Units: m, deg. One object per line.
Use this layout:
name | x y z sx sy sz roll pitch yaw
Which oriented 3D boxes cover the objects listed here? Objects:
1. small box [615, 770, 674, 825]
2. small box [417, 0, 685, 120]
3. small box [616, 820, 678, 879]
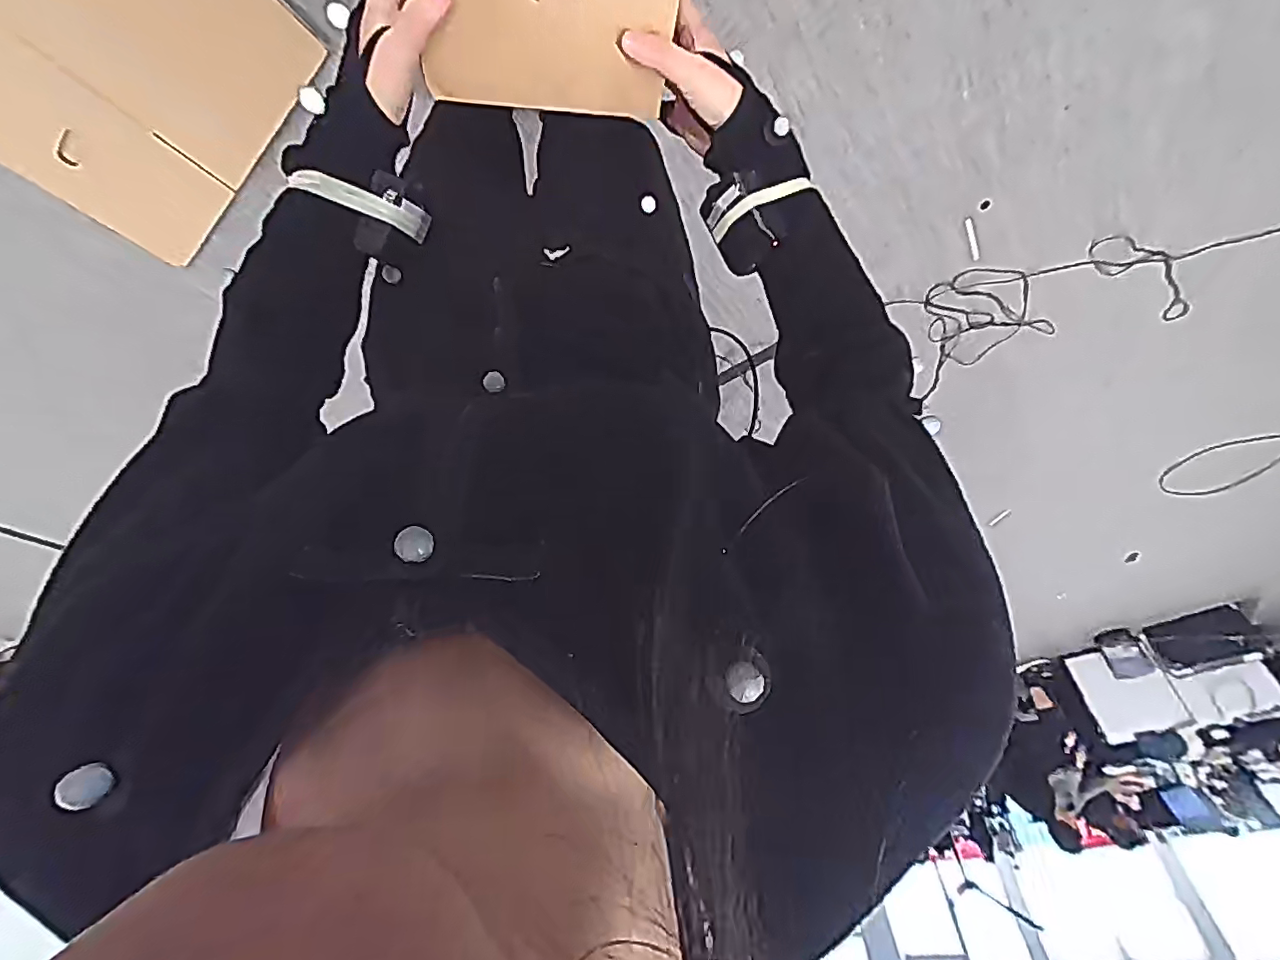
small box | 0.016 1.250 2.124 0.168 0.176 0.179 -24 139 21
small box | -0.068 -0.387 0.378 0.179 0.176 0.168 -4 148 -14
small box | 0.024 1.375 2.019 0.168 0.176 0.179 -24 138 22
